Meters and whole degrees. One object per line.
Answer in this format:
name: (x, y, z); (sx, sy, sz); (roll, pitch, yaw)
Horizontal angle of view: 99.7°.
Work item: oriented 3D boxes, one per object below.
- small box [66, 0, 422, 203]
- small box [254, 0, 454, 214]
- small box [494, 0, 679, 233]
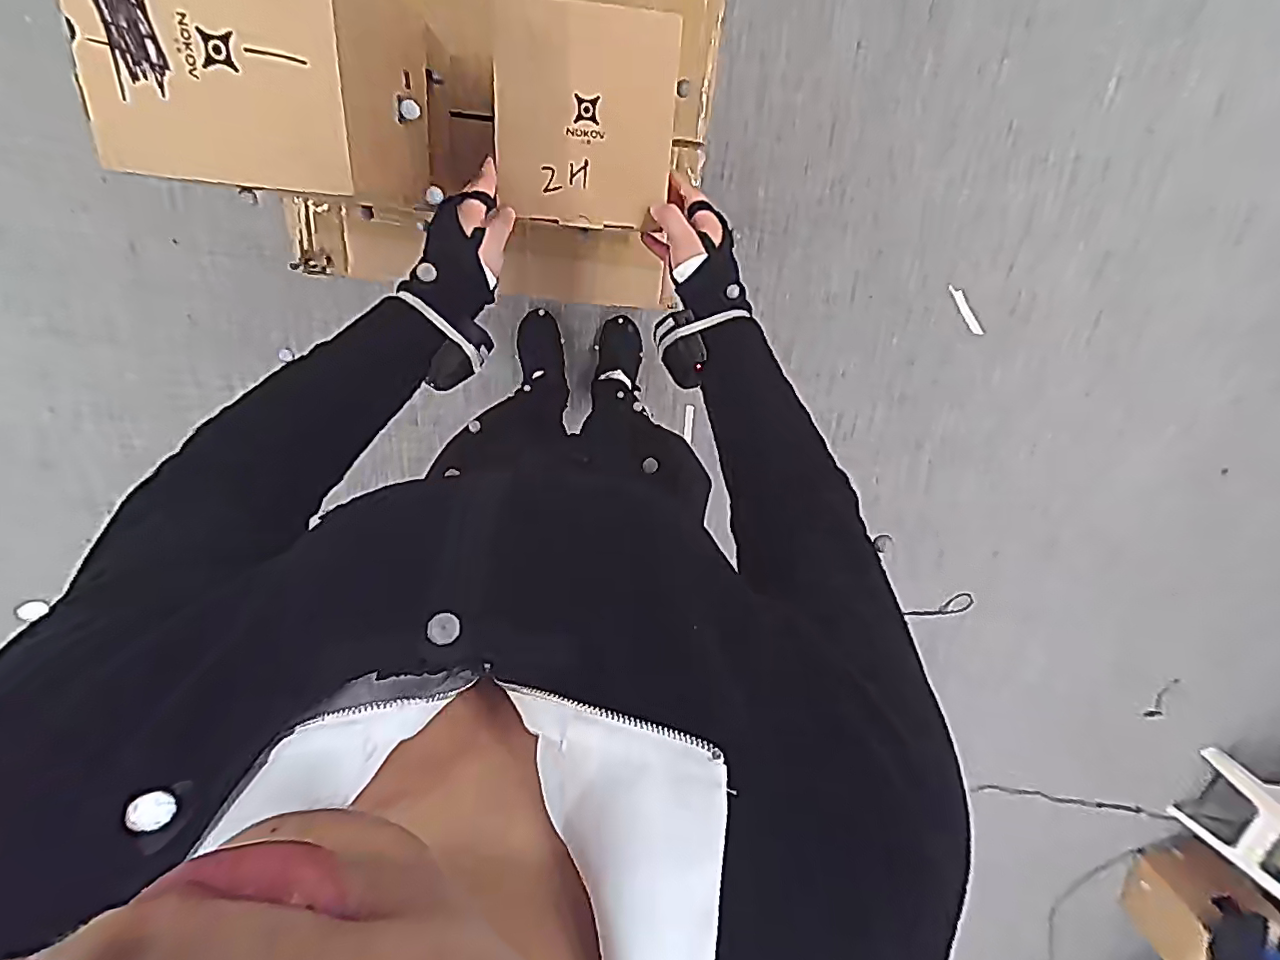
small box: (-0.296, -0.327, 0.439); (0.179, 0.176, 0.168); (3, 114, -5)
small box: (-0.308, -0.397, 0.587); (0.168, 0.176, 0.179); (4, 115, -5)
small box: (-0.057, -0.368, 0.576); (0.168, 0.176, 0.179); (3, 114, -4)
